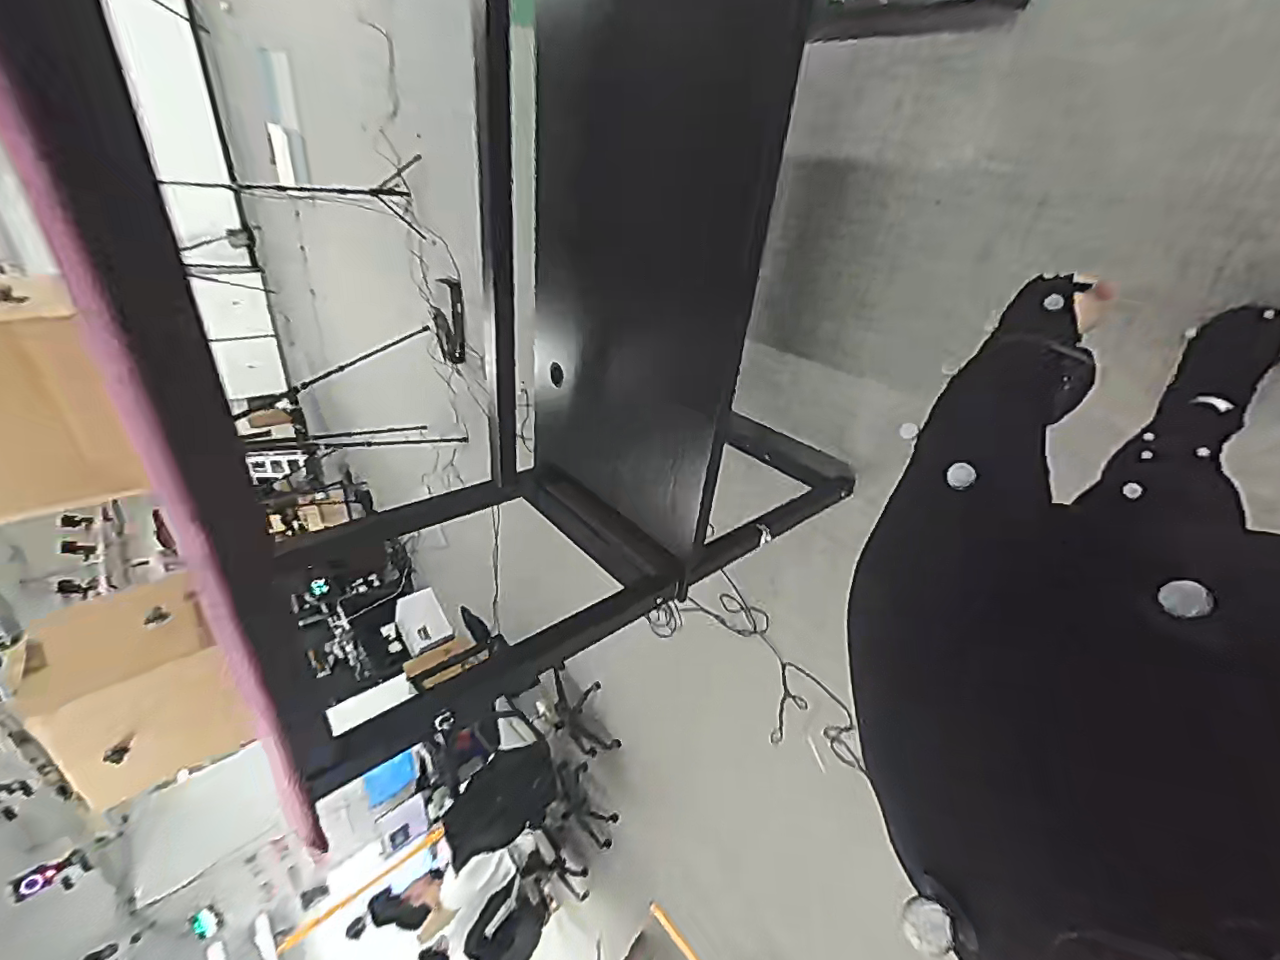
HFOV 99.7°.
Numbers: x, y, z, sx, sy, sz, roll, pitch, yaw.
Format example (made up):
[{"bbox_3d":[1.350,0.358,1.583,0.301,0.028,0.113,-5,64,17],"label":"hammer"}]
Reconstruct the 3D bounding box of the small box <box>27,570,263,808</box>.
[{"bbox_3d":[-0.593,0.244,0.666,0.168,0.176,0.179,32,129,38],"label":"small box"}]

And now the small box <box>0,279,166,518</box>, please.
[{"bbox_3d":[-0.571,-0.076,0.497,0.168,0.176,0.179,35,131,40],"label":"small box"}]
